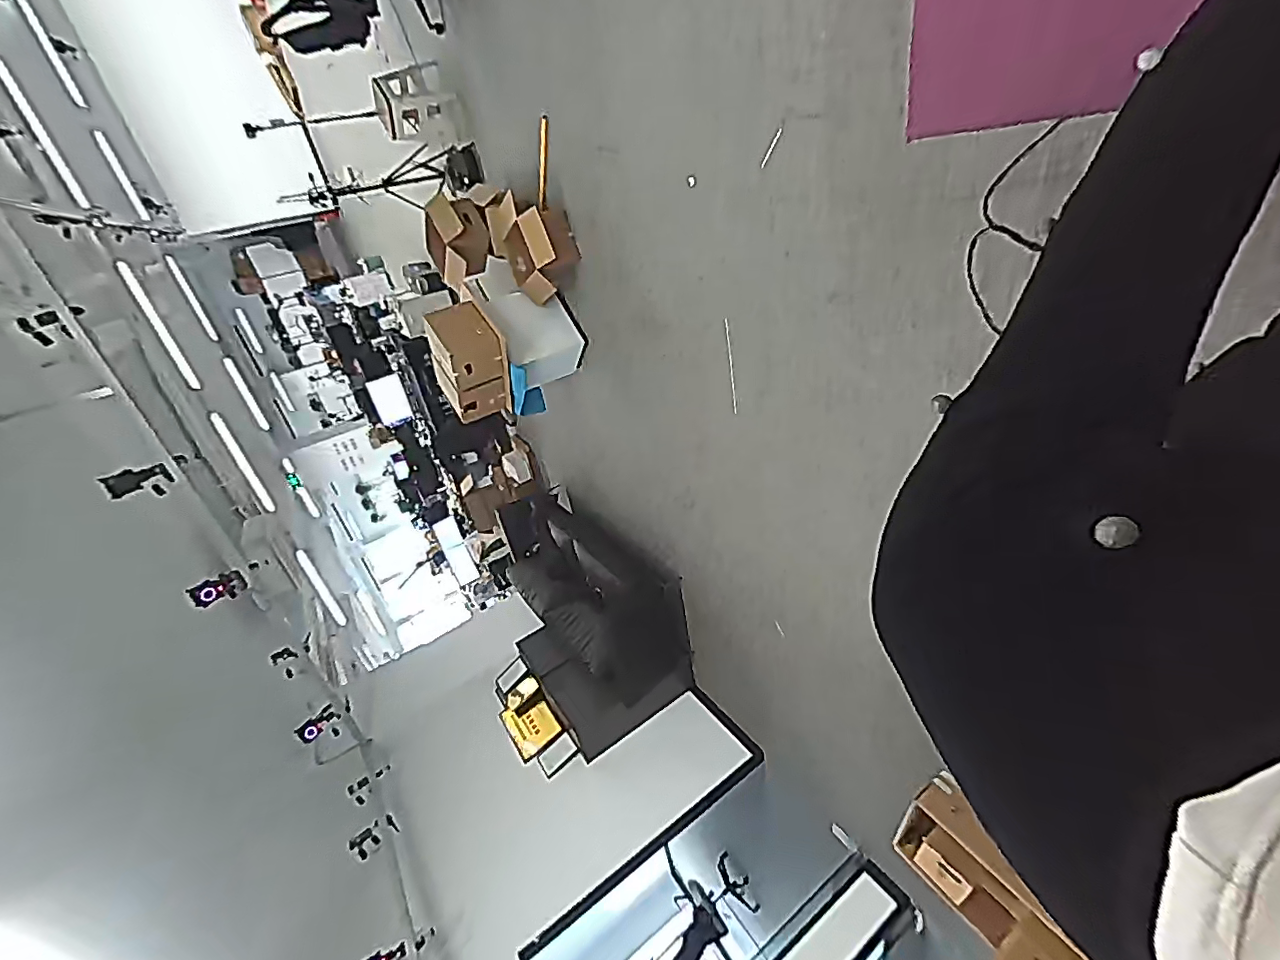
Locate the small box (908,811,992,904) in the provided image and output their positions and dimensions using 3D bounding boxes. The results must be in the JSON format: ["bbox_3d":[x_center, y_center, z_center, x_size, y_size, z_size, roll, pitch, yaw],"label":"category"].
[{"bbox_3d":[1.040,1.258,1.811,0.168,0.176,0.179,40,146,43],"label":"small box"}]

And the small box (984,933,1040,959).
[{"bbox_3d":[1.075,1.456,1.544,0.168,0.176,0.179,40,146,43],"label":"small box"}]
